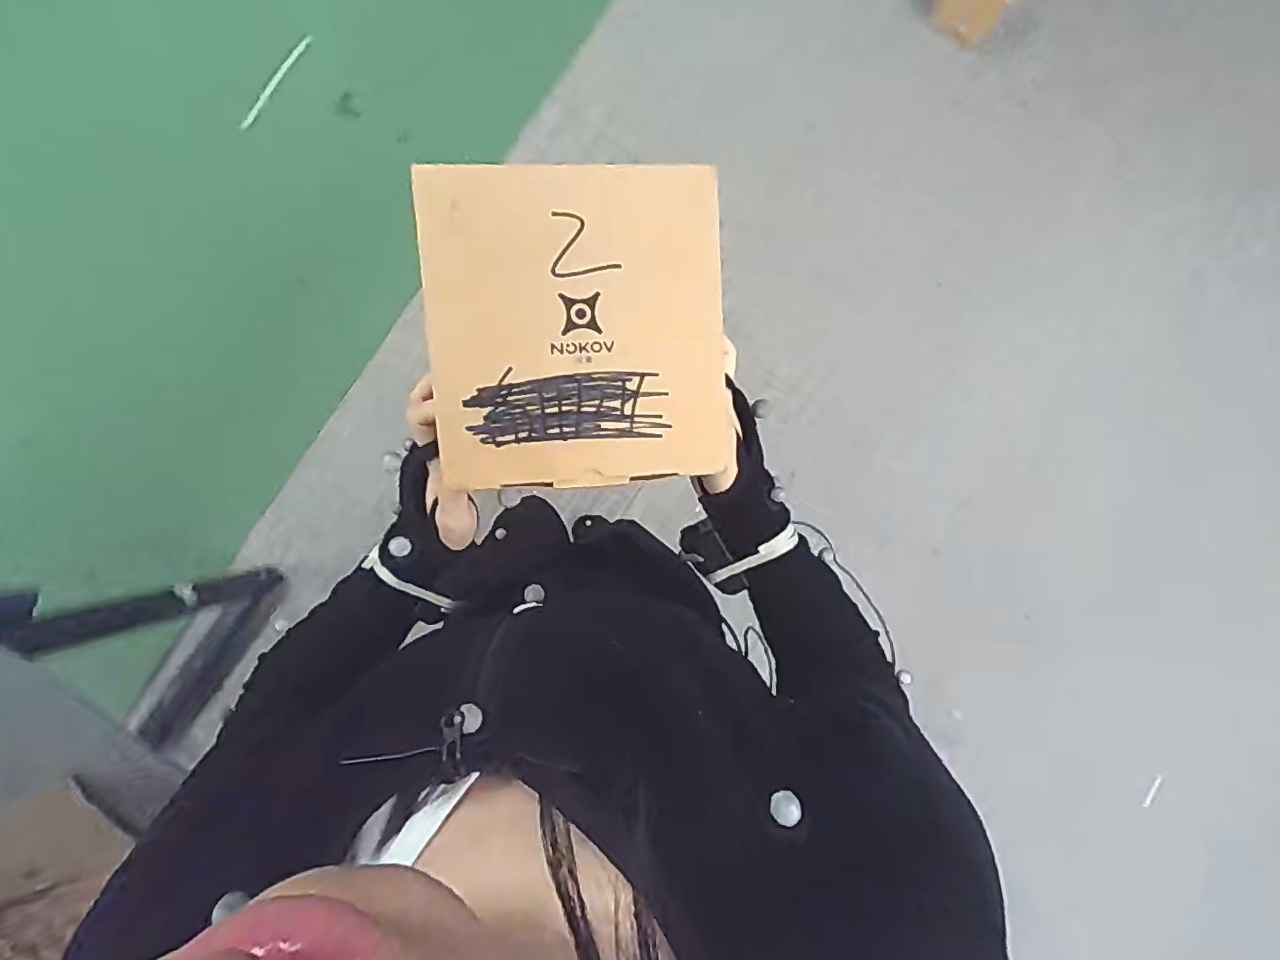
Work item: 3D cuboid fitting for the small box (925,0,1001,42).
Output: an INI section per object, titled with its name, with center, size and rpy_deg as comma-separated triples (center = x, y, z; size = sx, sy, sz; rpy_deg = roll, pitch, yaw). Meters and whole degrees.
[small box]
center = 0.933, -1.386, 1.495
size = 0.168, 0.176, 0.179
rpy_deg = 33, 89, -1
